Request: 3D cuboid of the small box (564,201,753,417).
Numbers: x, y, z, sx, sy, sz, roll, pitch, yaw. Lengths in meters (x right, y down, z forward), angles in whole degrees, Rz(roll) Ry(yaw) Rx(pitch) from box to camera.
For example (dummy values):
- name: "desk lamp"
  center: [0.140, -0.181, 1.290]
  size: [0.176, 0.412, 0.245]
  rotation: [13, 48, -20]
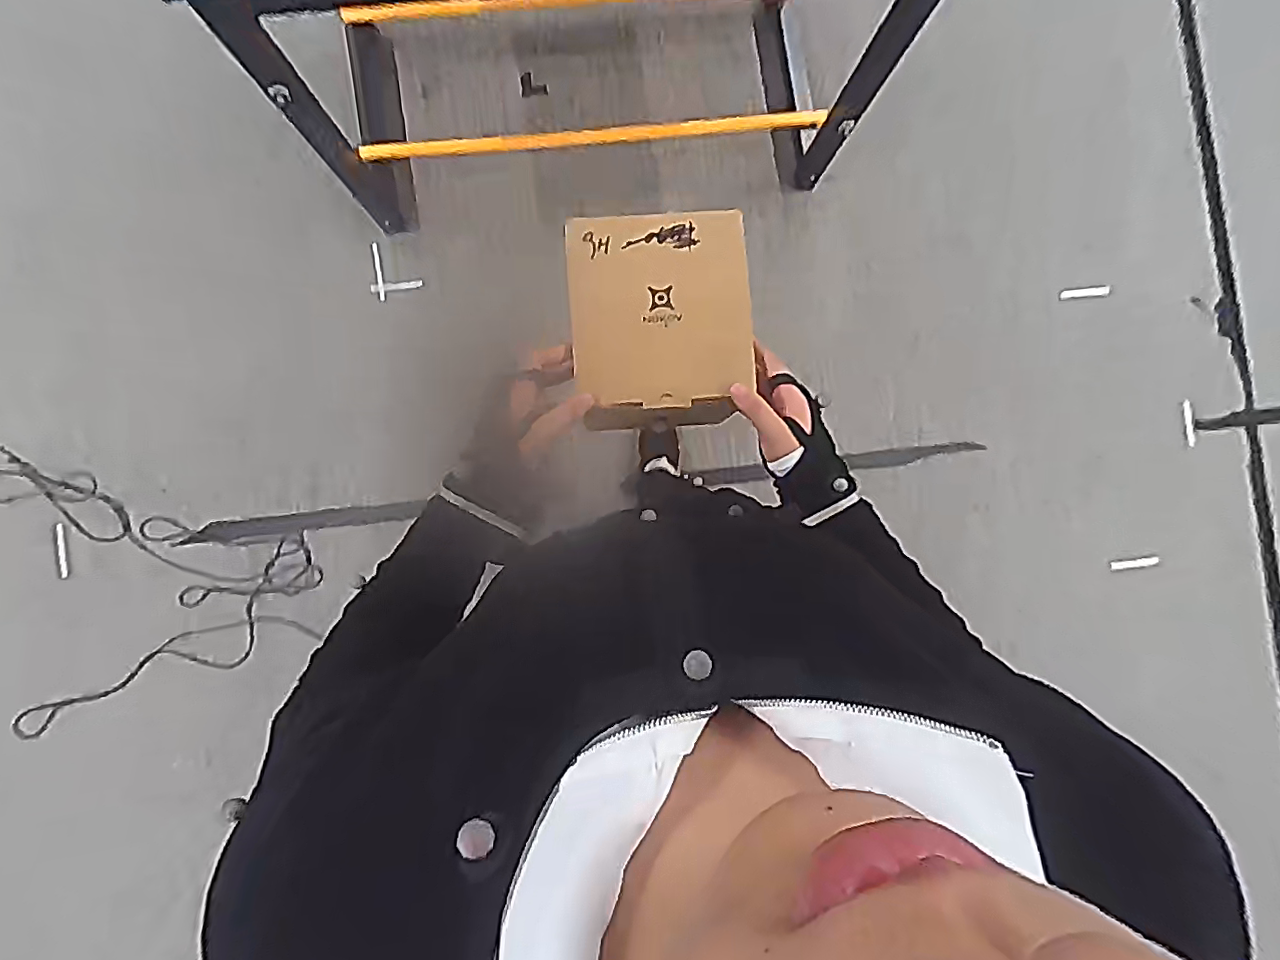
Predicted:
- name: "small box"
  center: [0.016, -0.163, 0.571]
  size: [0.168, 0.176, 0.179]
  rotation: [-5, 89, -2]
